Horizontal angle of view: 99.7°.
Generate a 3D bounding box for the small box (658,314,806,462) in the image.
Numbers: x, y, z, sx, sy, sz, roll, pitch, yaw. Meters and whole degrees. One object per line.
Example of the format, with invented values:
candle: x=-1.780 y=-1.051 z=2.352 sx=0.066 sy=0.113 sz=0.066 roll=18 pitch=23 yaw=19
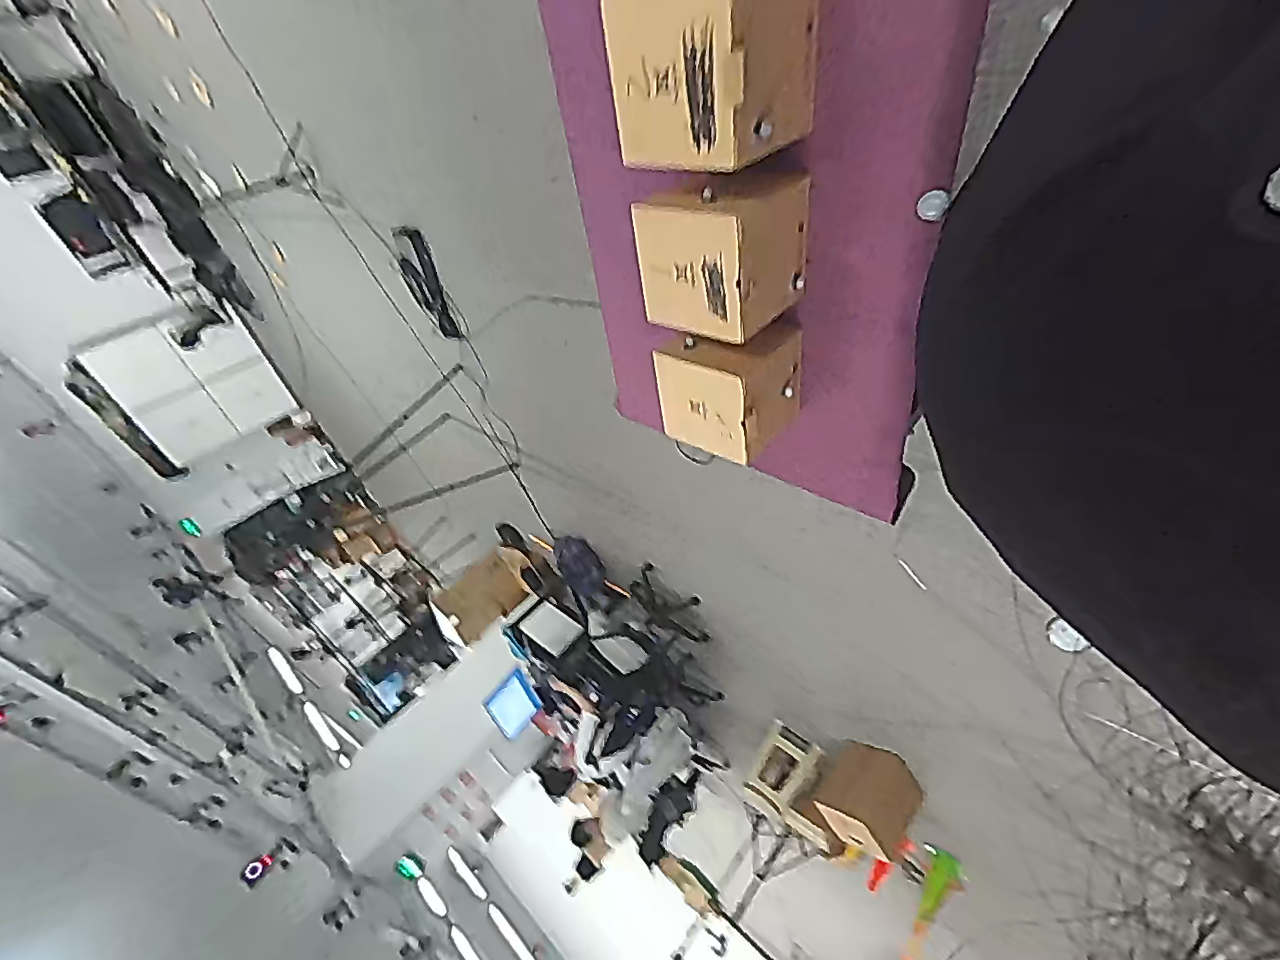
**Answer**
small box: x=0.157 y=-0.164 z=0.912 sx=0.179 sy=0.176 sz=0.168 roll=25 pitch=142 yaw=35
